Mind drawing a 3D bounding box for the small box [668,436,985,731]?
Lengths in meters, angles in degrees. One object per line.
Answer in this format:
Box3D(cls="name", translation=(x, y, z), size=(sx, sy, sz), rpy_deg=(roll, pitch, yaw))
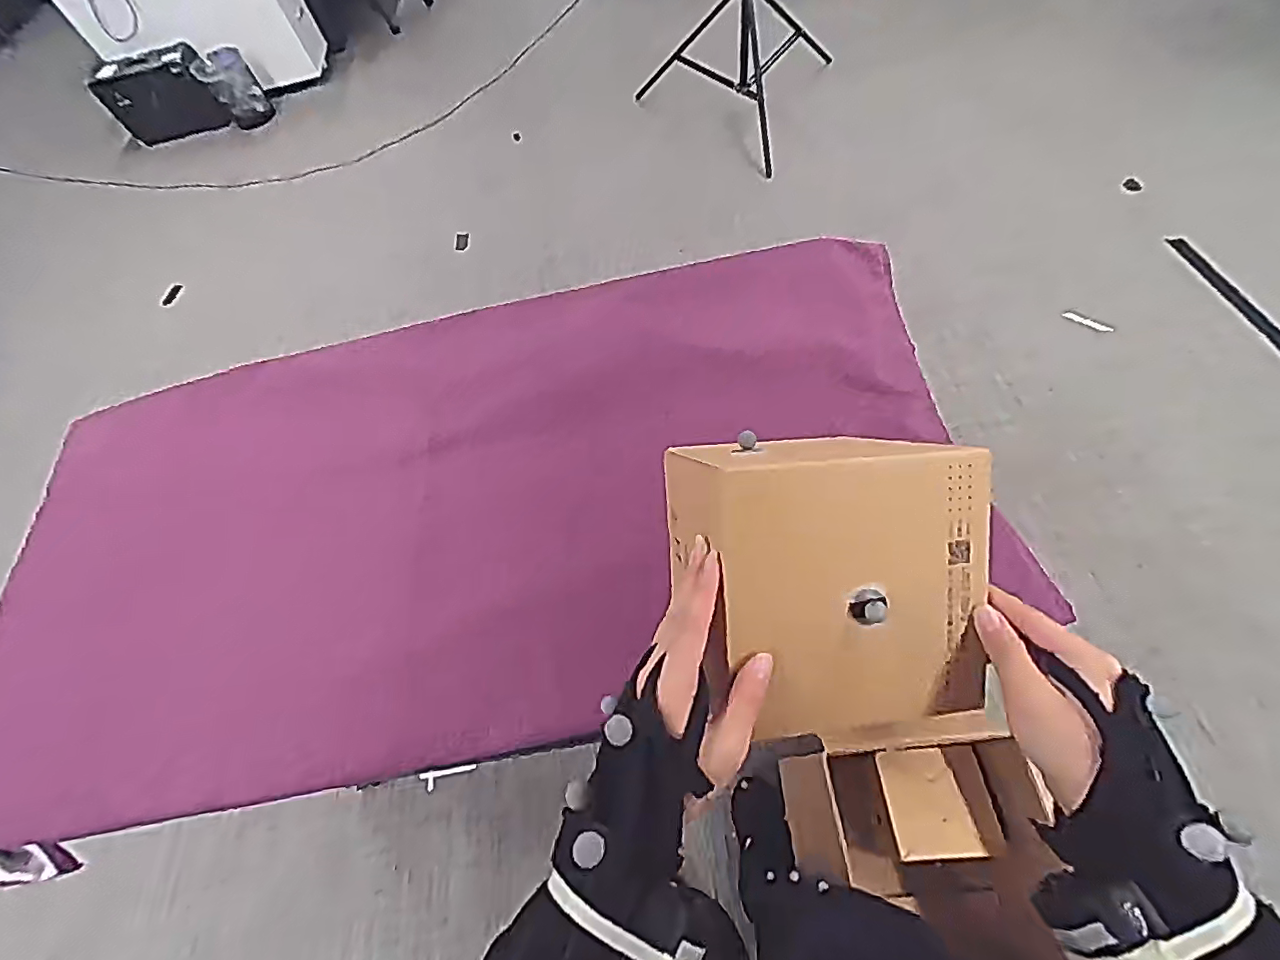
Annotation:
Box3D(cls="small box", translation=(0.124, 0.055, 0.407), size=(0.176, 0.179, 0.168), rpy_deg=(-4, 97, -8))
